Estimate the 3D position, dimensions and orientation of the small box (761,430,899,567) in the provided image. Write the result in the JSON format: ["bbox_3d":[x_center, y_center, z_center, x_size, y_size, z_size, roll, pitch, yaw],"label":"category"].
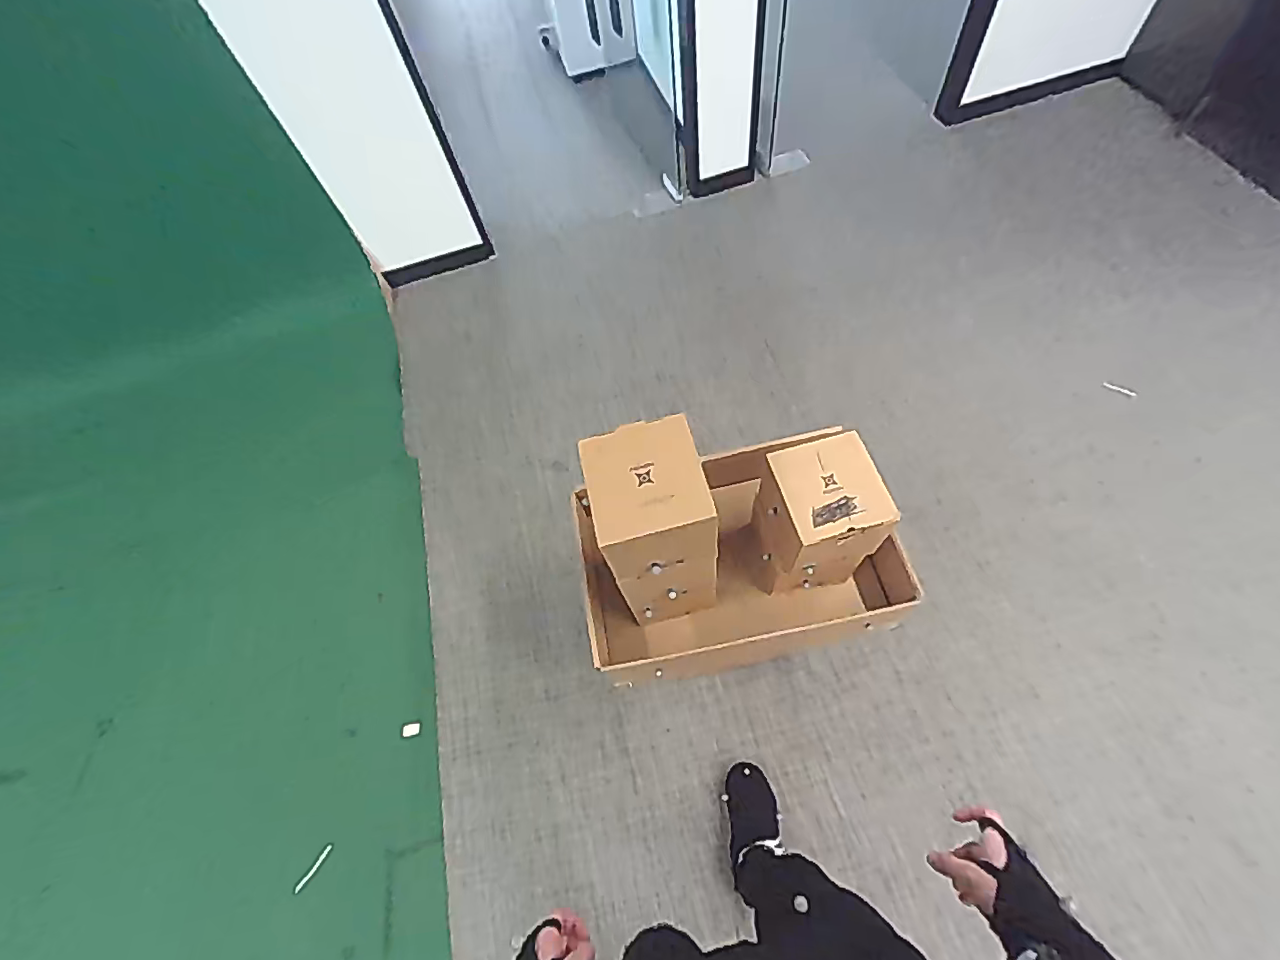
[{"bbox_3d":[0.323,0.043,0.960,0.168,0.176,0.179,-15,62,-1],"label":"small box"}]

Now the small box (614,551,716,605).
[{"bbox_3d":[0.033,0.103,0.964,0.168,0.176,0.179,-15,61,0],"label":"small box"}]

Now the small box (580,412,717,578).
[{"bbox_3d":[0.015,0.028,0.820,0.168,0.176,0.179,-14,61,1],"label":"small box"}]
